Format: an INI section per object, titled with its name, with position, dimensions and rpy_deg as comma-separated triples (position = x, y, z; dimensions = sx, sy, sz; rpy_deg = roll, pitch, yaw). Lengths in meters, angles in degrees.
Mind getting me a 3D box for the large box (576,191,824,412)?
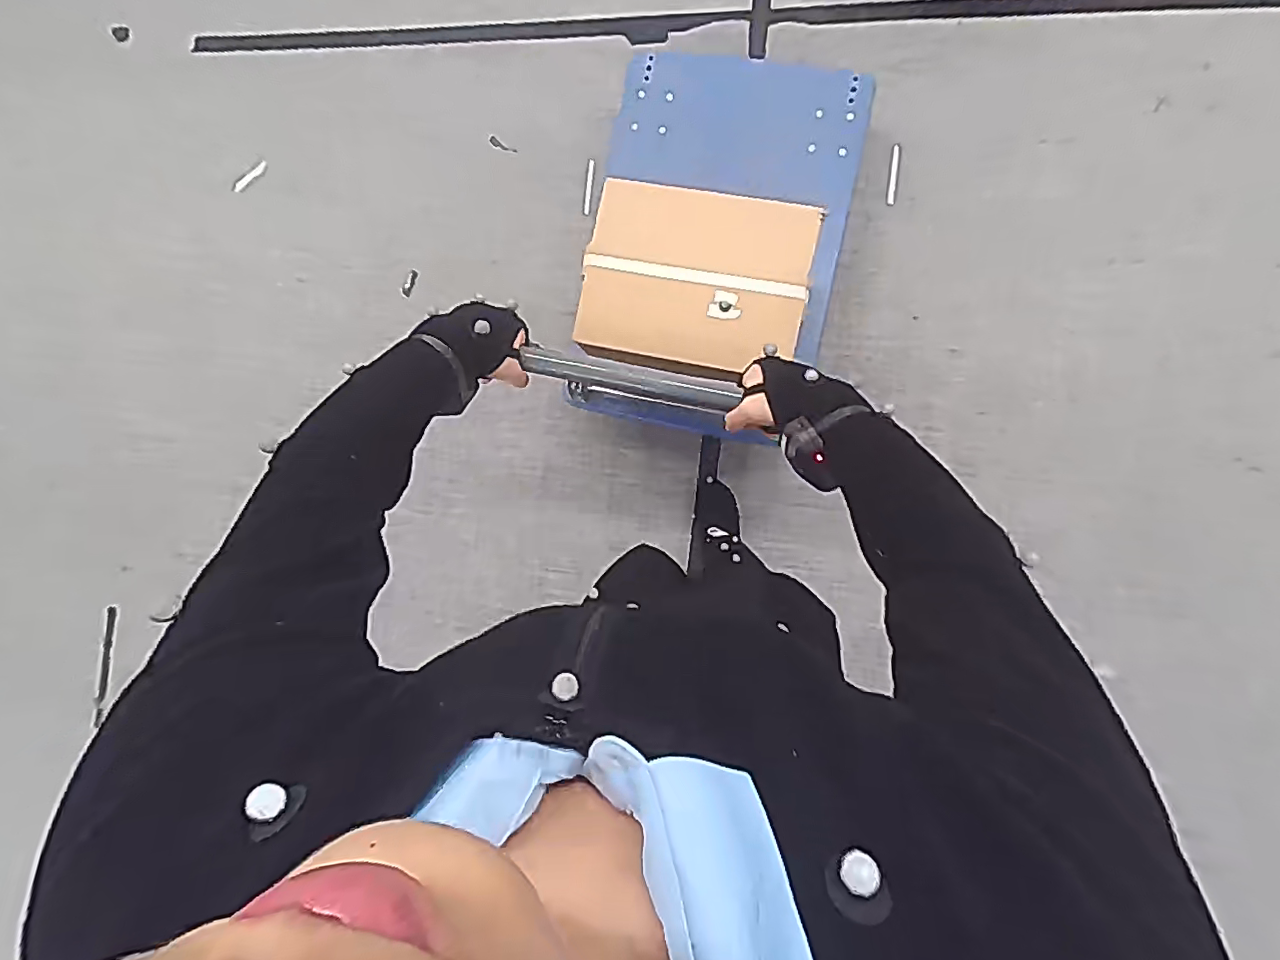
[large box]
position = 0.118, -0.344, 1.120
dimensions = 0.408, 0.320, 0.320
rpy_deg = 12, 92, 7
